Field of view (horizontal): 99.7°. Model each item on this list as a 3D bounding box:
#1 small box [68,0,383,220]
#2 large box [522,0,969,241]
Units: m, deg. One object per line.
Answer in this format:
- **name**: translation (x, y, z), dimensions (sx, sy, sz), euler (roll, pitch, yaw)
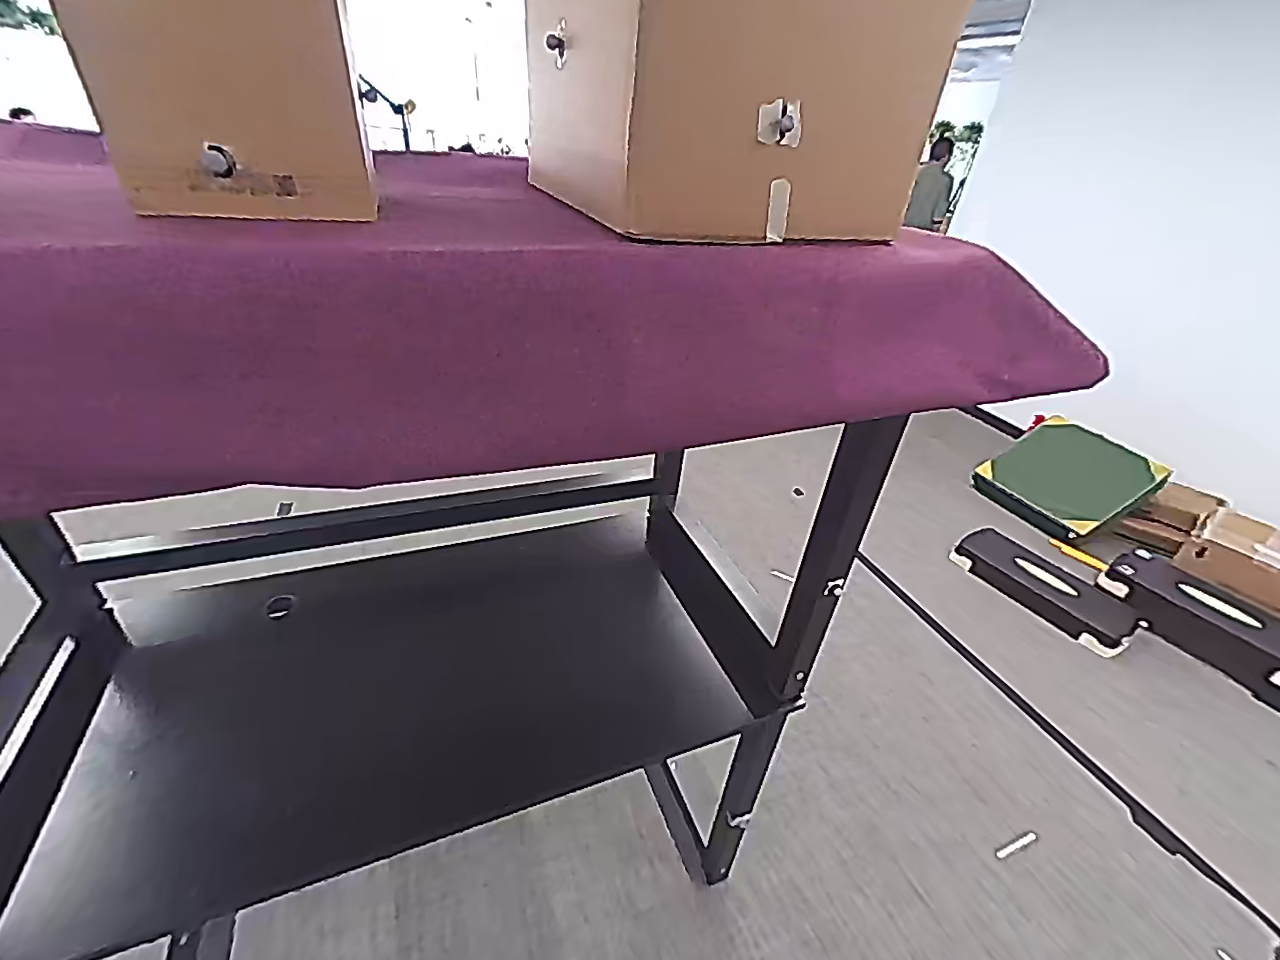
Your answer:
- **small box**: translation (-0.317, -0.322, 0.444), dimensions (0.168, 0.176, 0.179), euler (-9, 36, -20)
- **large box**: translation (0.068, -0.455, 0.580), dimensions (0.320, 0.320, 0.408), euler (-8, 34, -21)
